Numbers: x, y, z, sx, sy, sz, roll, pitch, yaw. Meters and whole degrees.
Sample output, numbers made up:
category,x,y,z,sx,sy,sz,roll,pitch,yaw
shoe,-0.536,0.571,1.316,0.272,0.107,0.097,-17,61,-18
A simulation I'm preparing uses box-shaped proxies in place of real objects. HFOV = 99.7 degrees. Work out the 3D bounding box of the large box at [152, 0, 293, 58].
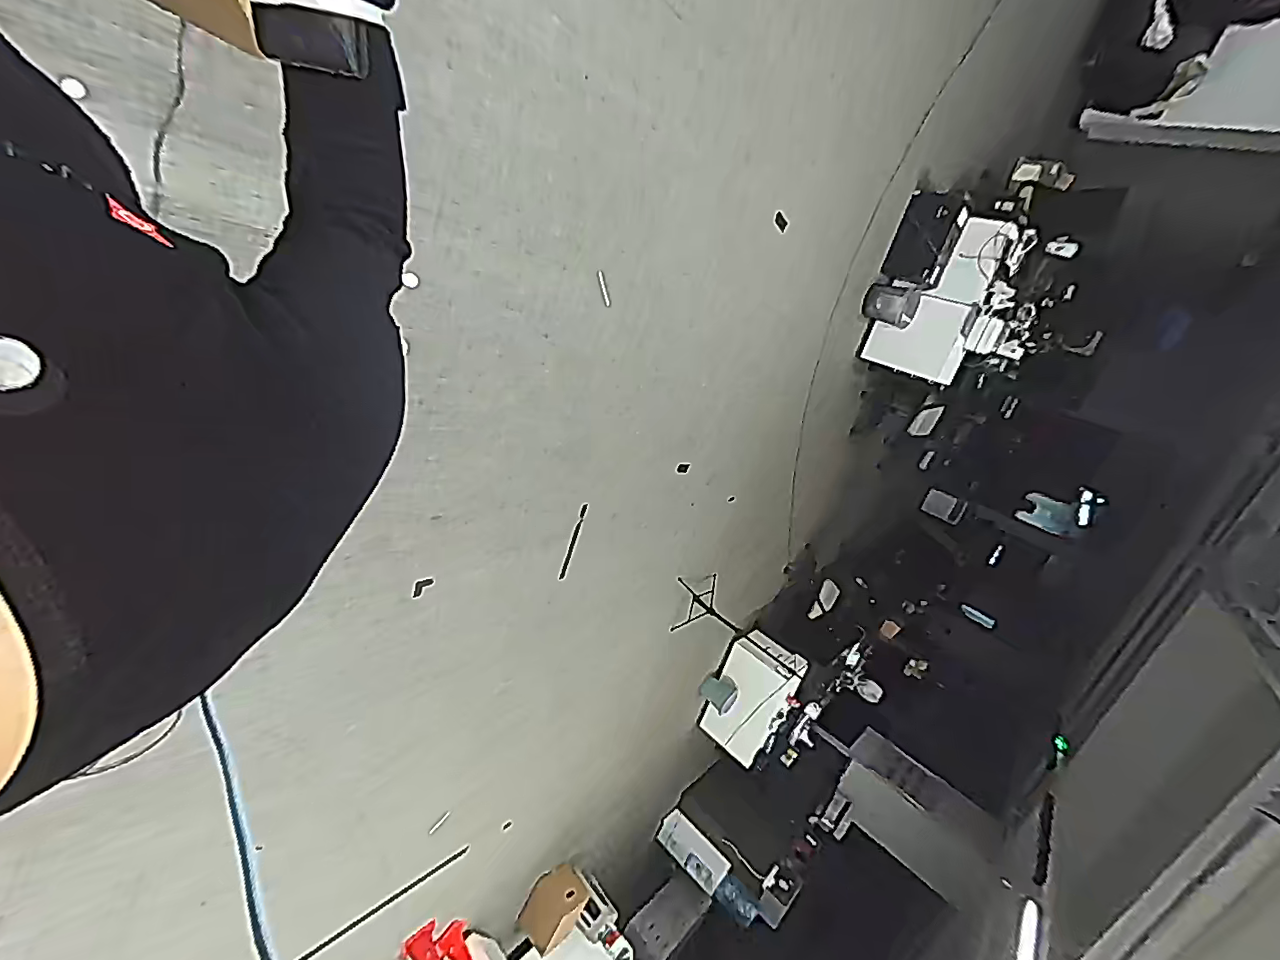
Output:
category,x,y,z,sx,sy,sz,roll,pitch,yaw
large box,-0.415,-0.559,0.289,0.408,0.320,0.320,18,97,-25
